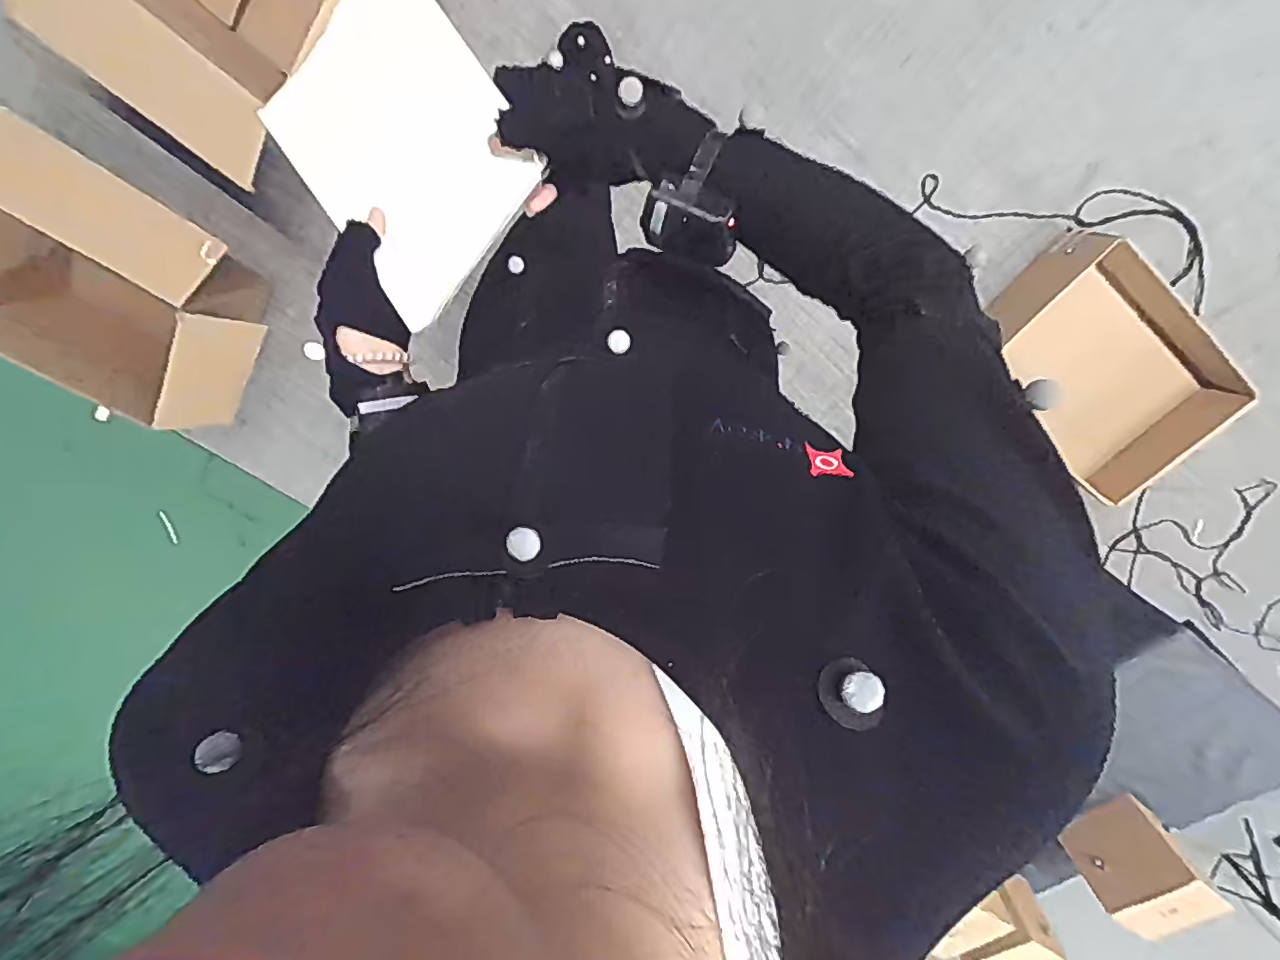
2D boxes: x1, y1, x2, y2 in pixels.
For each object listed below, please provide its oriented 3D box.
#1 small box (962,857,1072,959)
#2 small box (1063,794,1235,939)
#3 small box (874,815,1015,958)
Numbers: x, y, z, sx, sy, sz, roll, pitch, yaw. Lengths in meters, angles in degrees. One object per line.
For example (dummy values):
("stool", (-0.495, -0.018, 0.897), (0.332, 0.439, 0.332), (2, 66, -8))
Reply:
("small box", (0.806, 0.992, 1.220), (0.179, 0.176, 0.168), (39, 111, -19))
("small box", (1.022, 0.788, 1.108), (0.168, 0.176, 0.179), (38, 113, -19))
("small box", (0.623, 0.851, 1.137), (0.168, 0.176, 0.179), (36, 112, -19))
